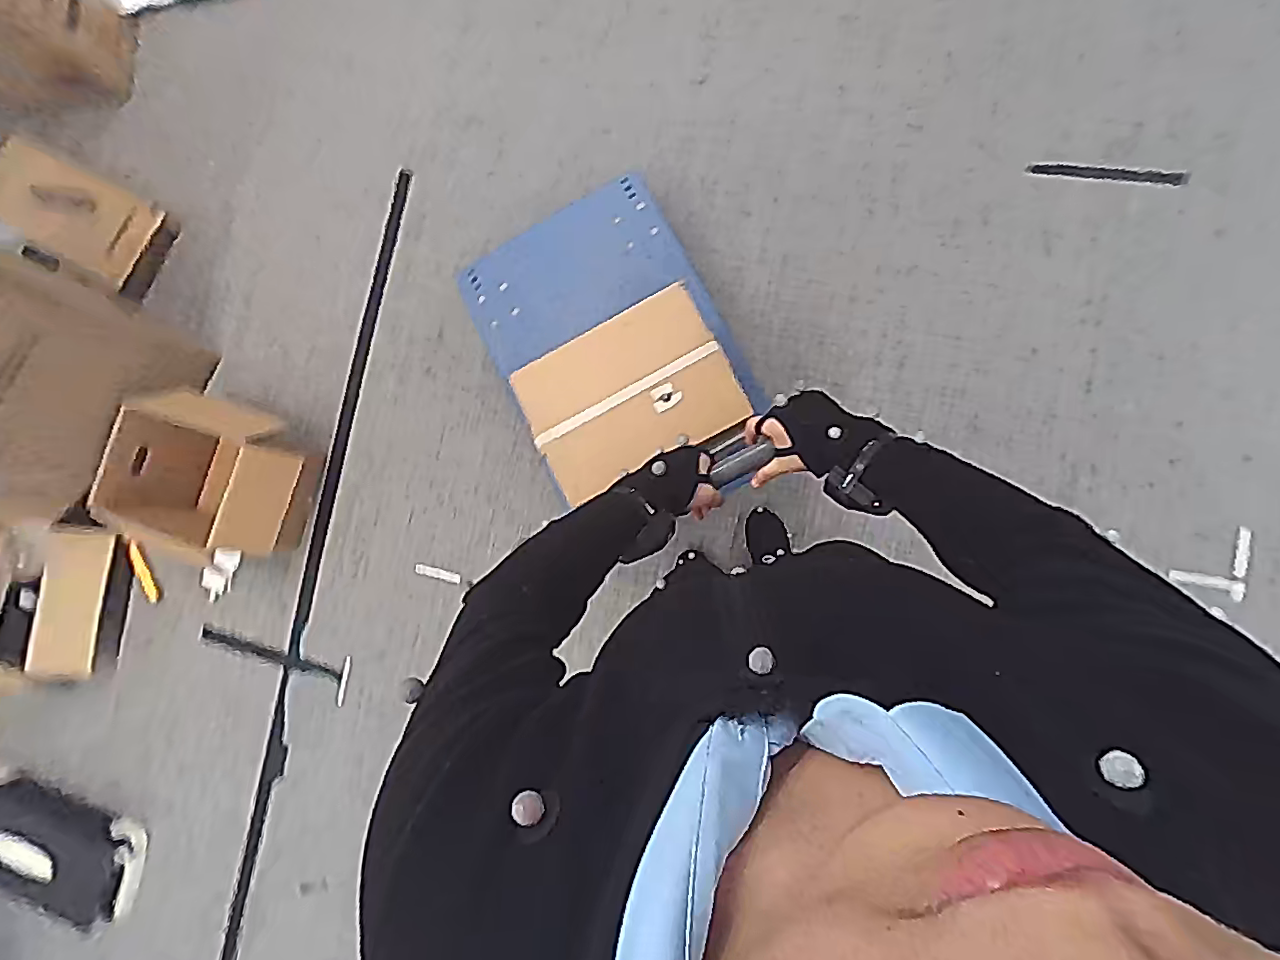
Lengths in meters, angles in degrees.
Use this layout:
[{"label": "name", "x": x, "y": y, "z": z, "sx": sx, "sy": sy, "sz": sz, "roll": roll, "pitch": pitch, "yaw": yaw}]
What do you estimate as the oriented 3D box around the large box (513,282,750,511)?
[{"label": "large box", "x": -0.005, "y": -0.159, "z": 1.227, "sx": 0.408, "sy": 0.320, "sz": 0.320, "roll": -28, "pitch": 82, "yaw": 5}]
